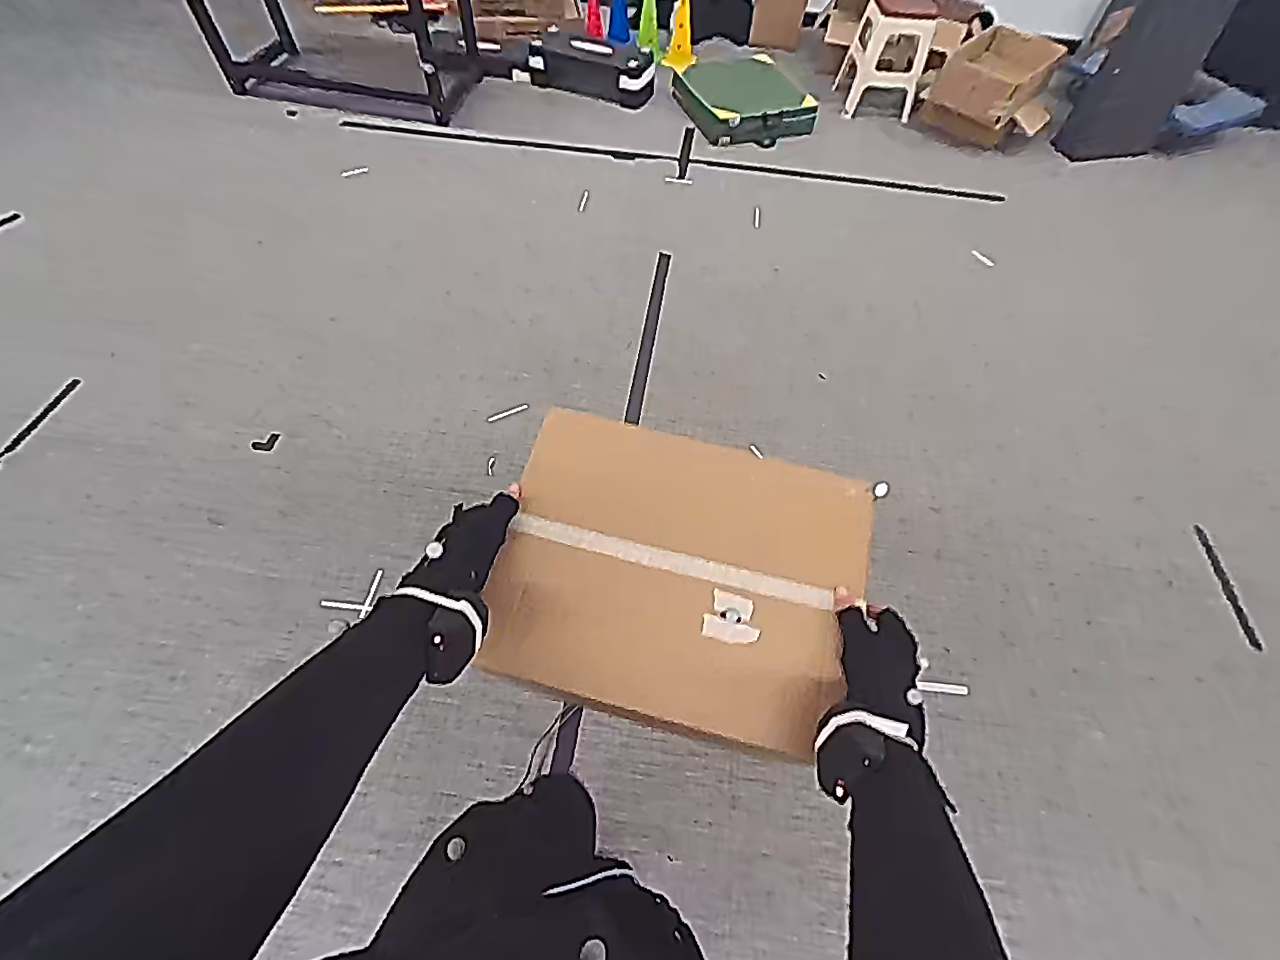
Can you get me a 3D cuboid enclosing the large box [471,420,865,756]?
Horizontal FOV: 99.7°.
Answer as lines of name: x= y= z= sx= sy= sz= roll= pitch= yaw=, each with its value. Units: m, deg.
large box: x=0.042 y=0.160 z=0.747 sx=0.408 sy=0.320 sz=0.320 roll=14 pitch=67 yaw=5
